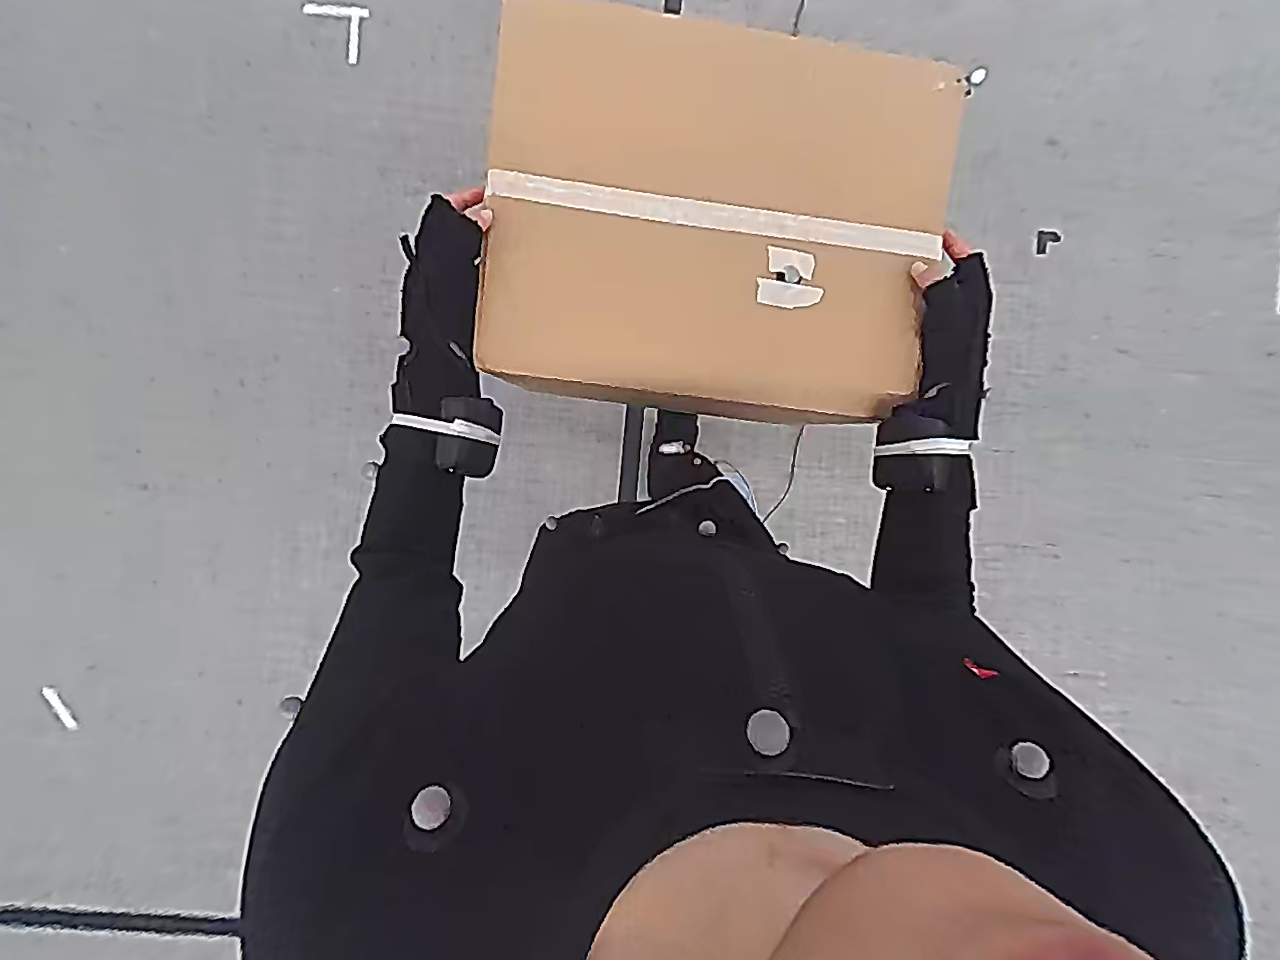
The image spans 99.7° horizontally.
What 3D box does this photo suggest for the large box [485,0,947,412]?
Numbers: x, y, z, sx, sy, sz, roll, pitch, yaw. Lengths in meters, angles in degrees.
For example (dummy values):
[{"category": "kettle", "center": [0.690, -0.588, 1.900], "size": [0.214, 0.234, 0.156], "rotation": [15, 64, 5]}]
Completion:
[{"category": "large box", "center": [0.058, -0.258, 0.640], "size": [0.408, 0.320, 0.320], "rotation": [7, 96, -5]}]
